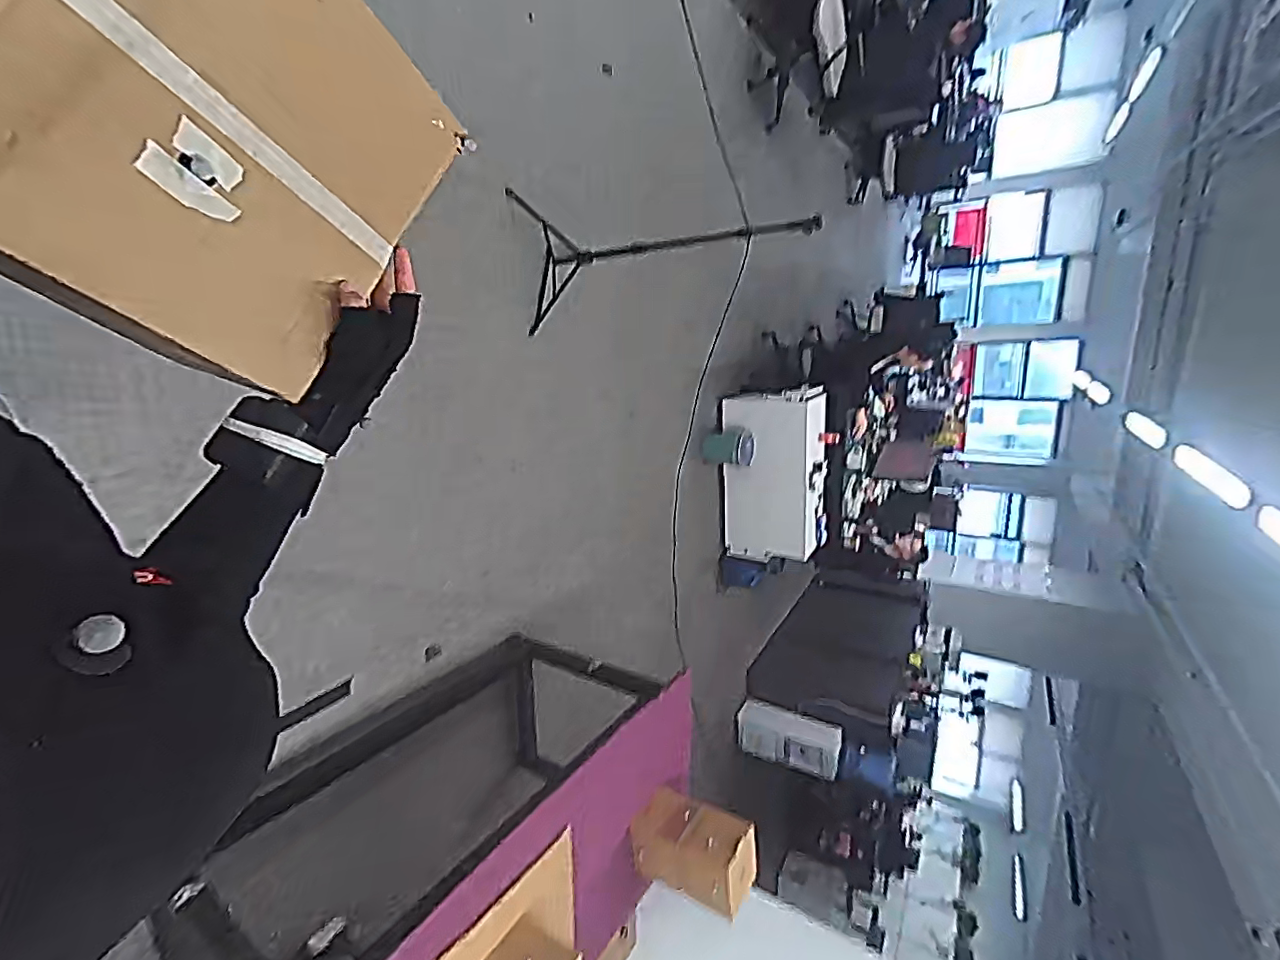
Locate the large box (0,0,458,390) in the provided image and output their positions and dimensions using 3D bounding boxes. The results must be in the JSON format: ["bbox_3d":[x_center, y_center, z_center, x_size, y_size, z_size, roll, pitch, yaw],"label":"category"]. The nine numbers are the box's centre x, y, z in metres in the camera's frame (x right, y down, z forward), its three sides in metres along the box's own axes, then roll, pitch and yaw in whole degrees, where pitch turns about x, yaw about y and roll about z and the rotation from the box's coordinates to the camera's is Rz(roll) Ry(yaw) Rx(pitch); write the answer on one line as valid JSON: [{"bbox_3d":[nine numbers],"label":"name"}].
[{"bbox_3d":[-0.451,-0.321,0.438,0.408,0.320,0.320,41,71,-53],"label":"large box"}]
